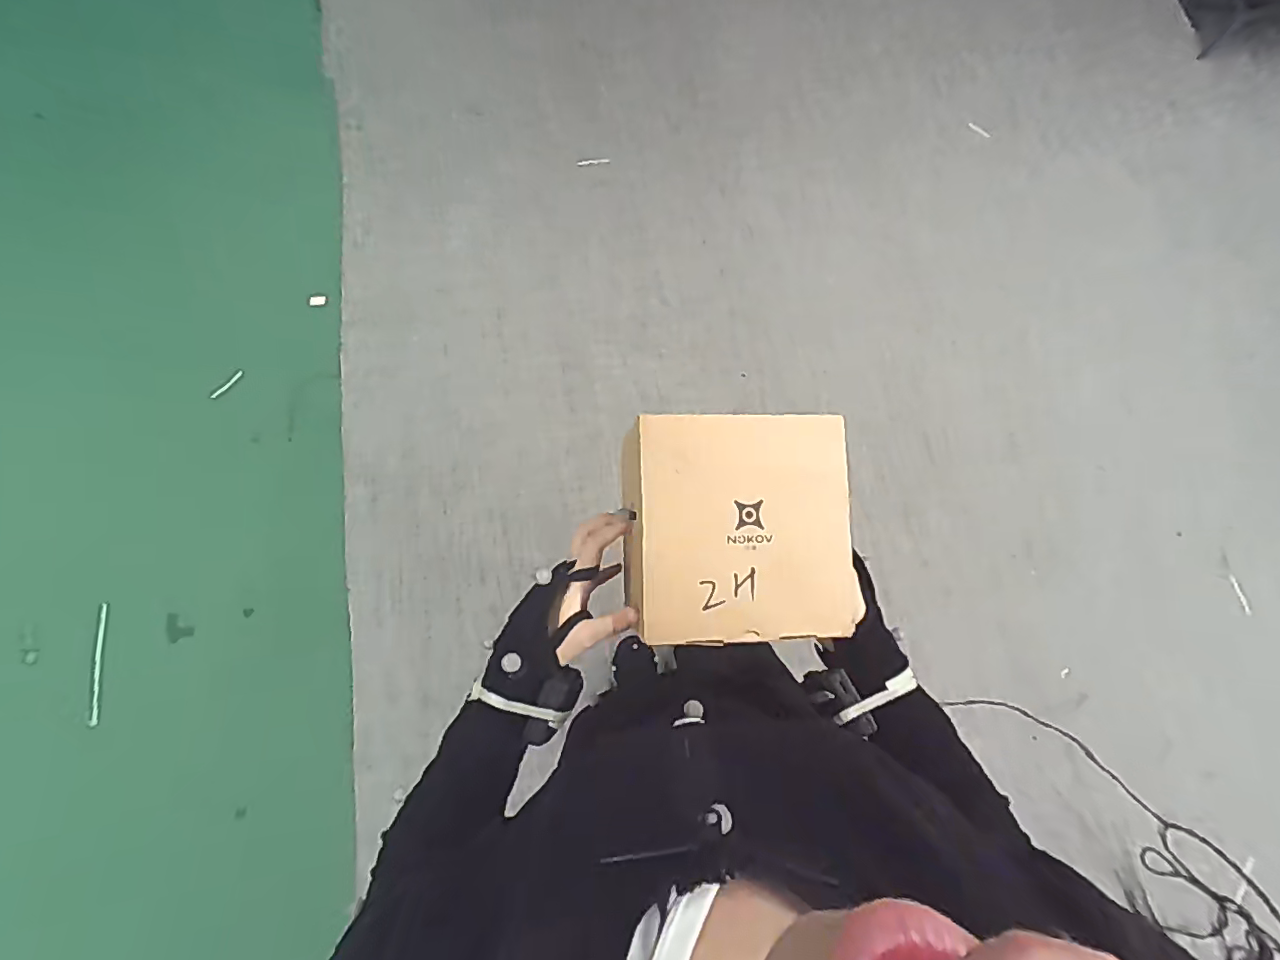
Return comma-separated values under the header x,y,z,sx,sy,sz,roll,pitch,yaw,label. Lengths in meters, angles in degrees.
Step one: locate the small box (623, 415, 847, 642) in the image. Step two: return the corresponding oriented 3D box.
x,y,z,sx,sy,sz,roll,pitch,yaw,label
0.072,0.043,0.500,0.168,0.176,0.179,0,86,-6,small box
